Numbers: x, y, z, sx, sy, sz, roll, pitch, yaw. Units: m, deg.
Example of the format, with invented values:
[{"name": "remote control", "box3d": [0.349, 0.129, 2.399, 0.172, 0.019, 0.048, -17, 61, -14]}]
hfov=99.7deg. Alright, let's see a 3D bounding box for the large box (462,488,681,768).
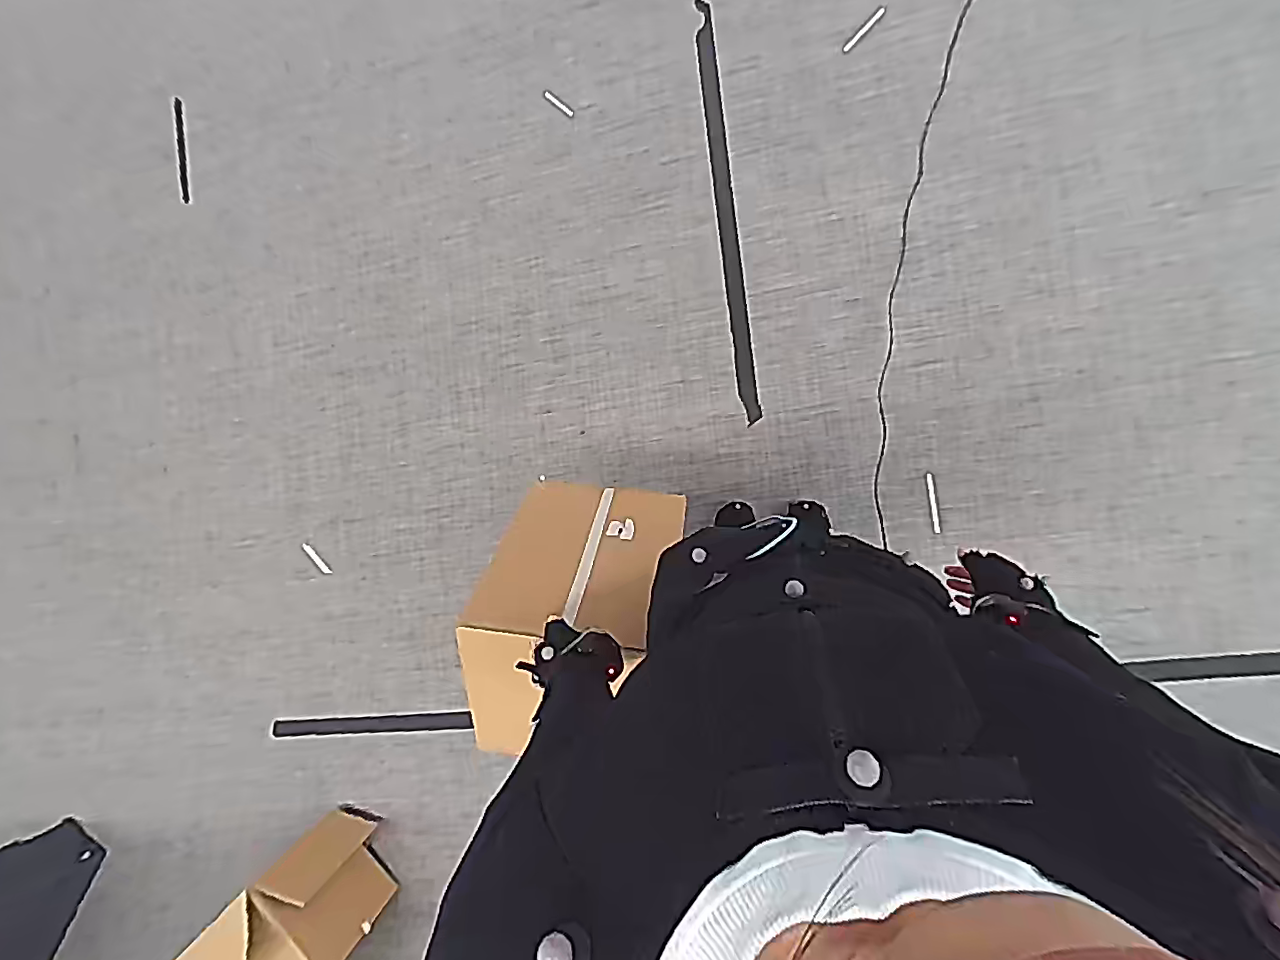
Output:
[{"name": "large box", "box3d": [-0.097, 0.258, 1.025, 0.320, 0.408, 0.320, 7, 121, 5]}]
